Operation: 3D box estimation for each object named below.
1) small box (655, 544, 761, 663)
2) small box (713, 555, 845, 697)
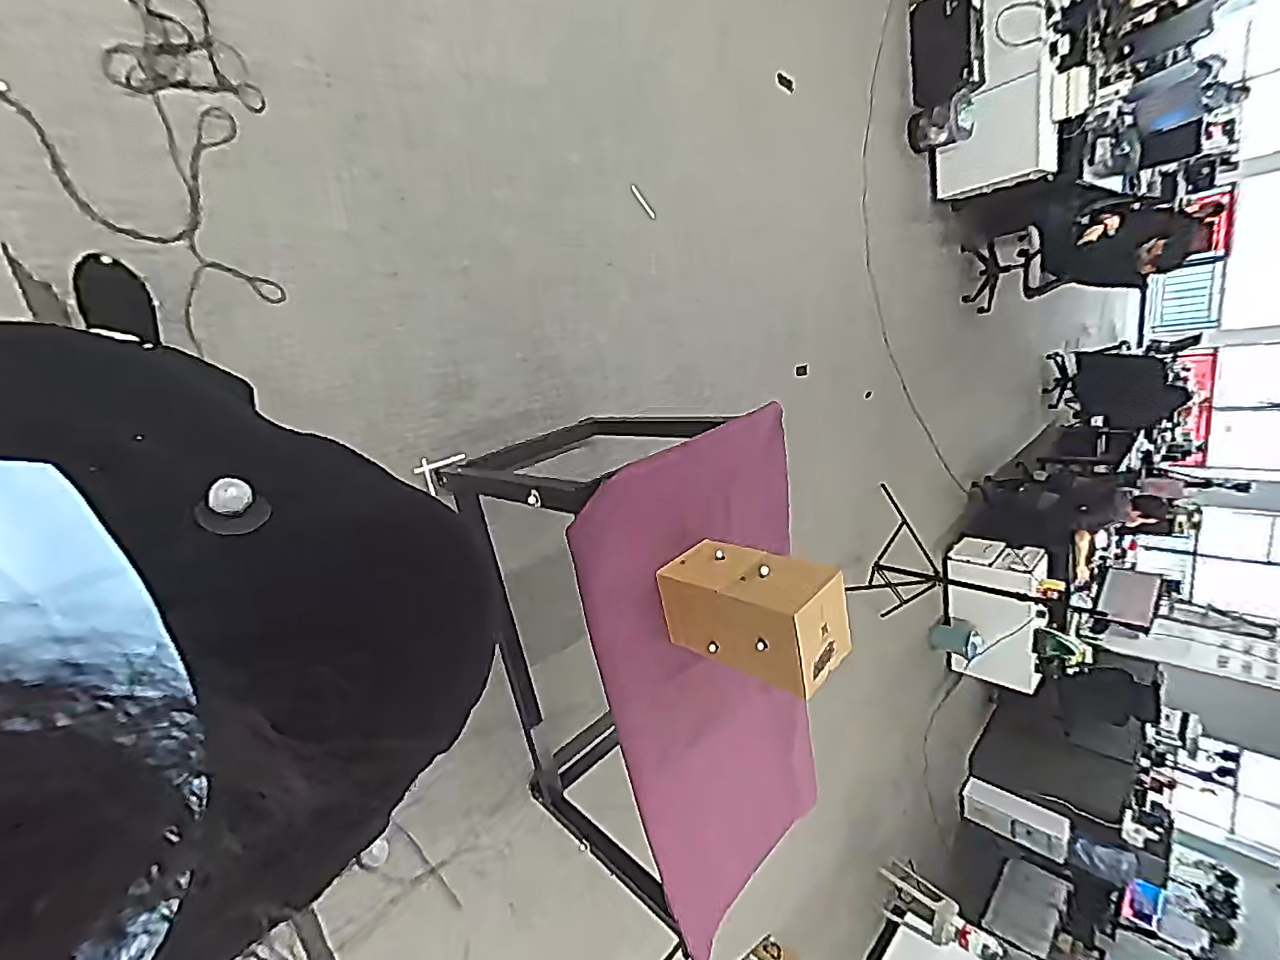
[{"bbox_3d":[0.151,0.245,1.136,0.168,0.176,0.179,-27,113,-38],"label":"small box"},{"bbox_3d":[0.259,0.262,1.014,0.168,0.176,0.179,-27,112,-38],"label":"small box"}]
